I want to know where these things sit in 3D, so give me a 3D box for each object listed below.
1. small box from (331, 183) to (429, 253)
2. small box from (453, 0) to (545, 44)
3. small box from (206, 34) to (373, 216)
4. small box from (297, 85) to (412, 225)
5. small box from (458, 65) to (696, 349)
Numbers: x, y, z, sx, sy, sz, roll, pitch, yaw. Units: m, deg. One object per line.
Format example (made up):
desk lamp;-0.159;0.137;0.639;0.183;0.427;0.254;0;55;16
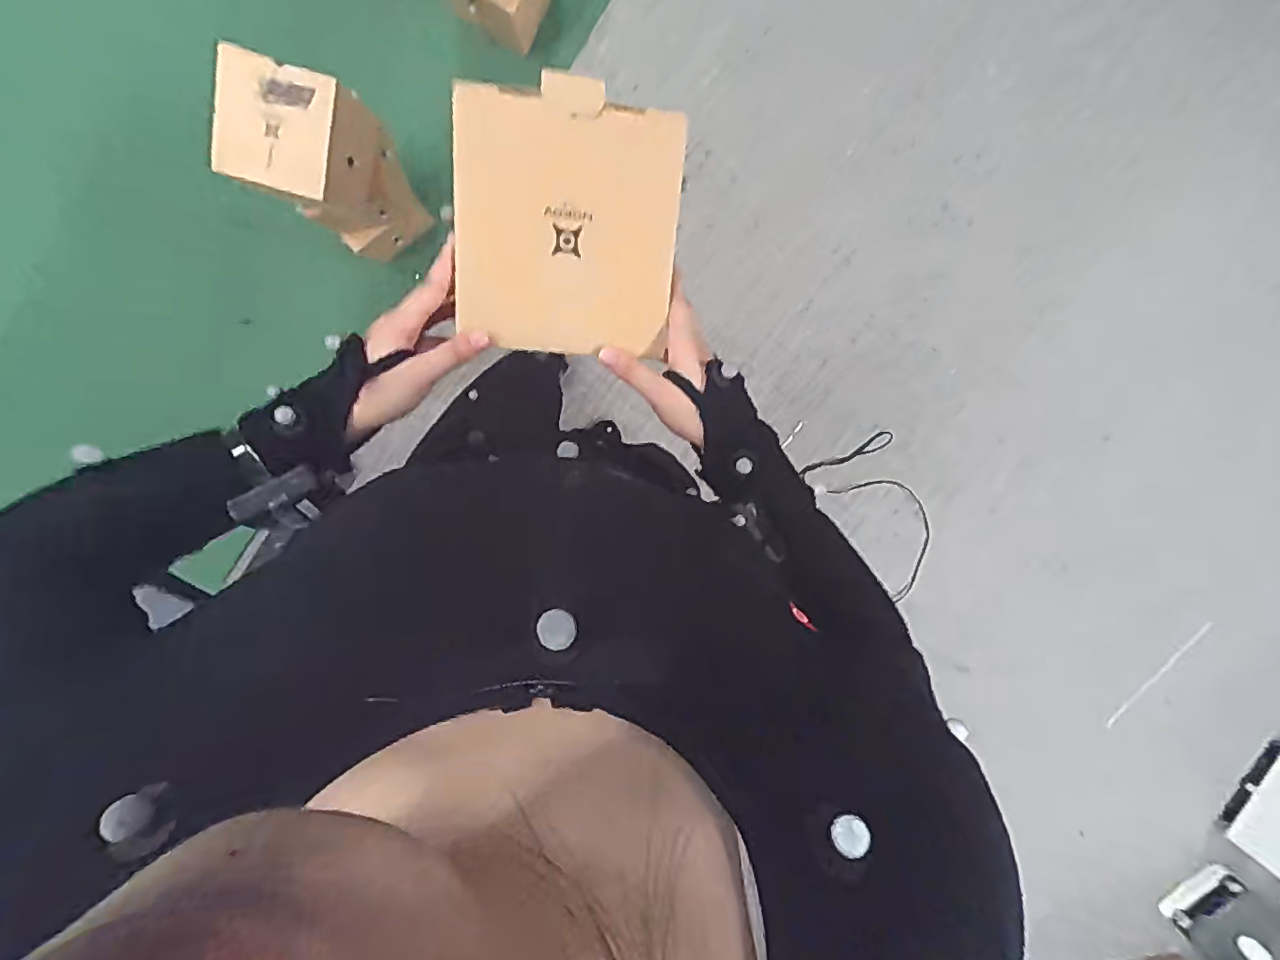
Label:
small box;-0.600;-0.623;1.191;0.168;0.176;0.179;-36;104;4
small box;-0.295;-1.055;1.106;0.179;0.176;0.168;27;100;-11
small box;-0.553;-0.555;0.874;0.168;0.176;0.179;13;104;-9
small box;-0.562;-0.603;1.032;0.168;0.176;0.179;-16;105;-2
small box;-0.056;-0.216;0.470;0.168;0.176;0.179;2;108;-8
